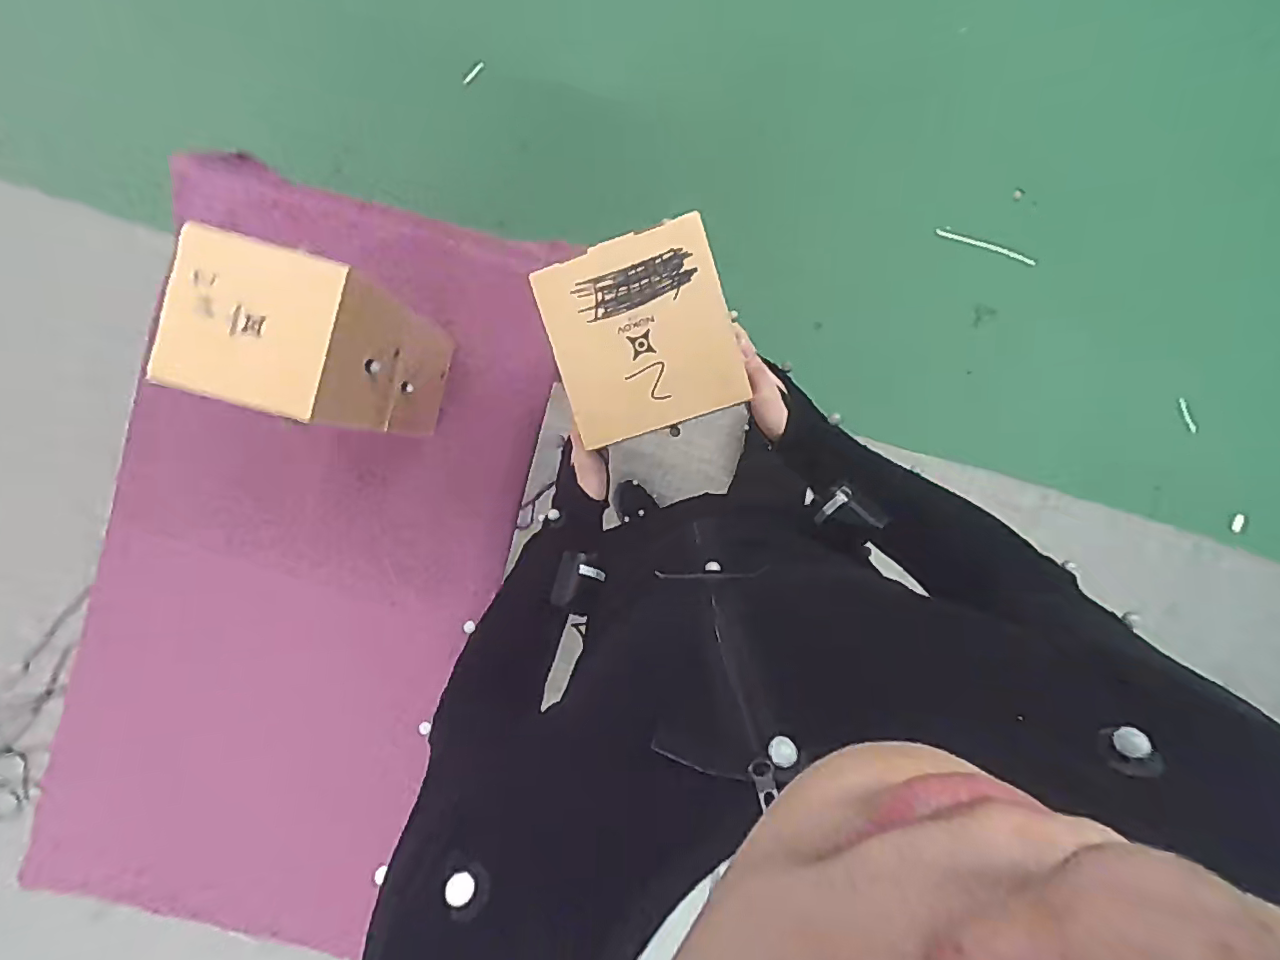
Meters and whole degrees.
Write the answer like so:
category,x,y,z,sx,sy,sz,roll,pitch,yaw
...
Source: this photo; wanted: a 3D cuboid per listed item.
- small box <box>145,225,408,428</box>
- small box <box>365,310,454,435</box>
category,x,y,z,sx,sy,sz,roll,pitch,yaw
small box,-0.401,-0.161,0.630,0.179,0.176,0.168,16,91,0
small box,-0.402,-0.165,0.795,0.179,0.176,0.168,14,92,0
